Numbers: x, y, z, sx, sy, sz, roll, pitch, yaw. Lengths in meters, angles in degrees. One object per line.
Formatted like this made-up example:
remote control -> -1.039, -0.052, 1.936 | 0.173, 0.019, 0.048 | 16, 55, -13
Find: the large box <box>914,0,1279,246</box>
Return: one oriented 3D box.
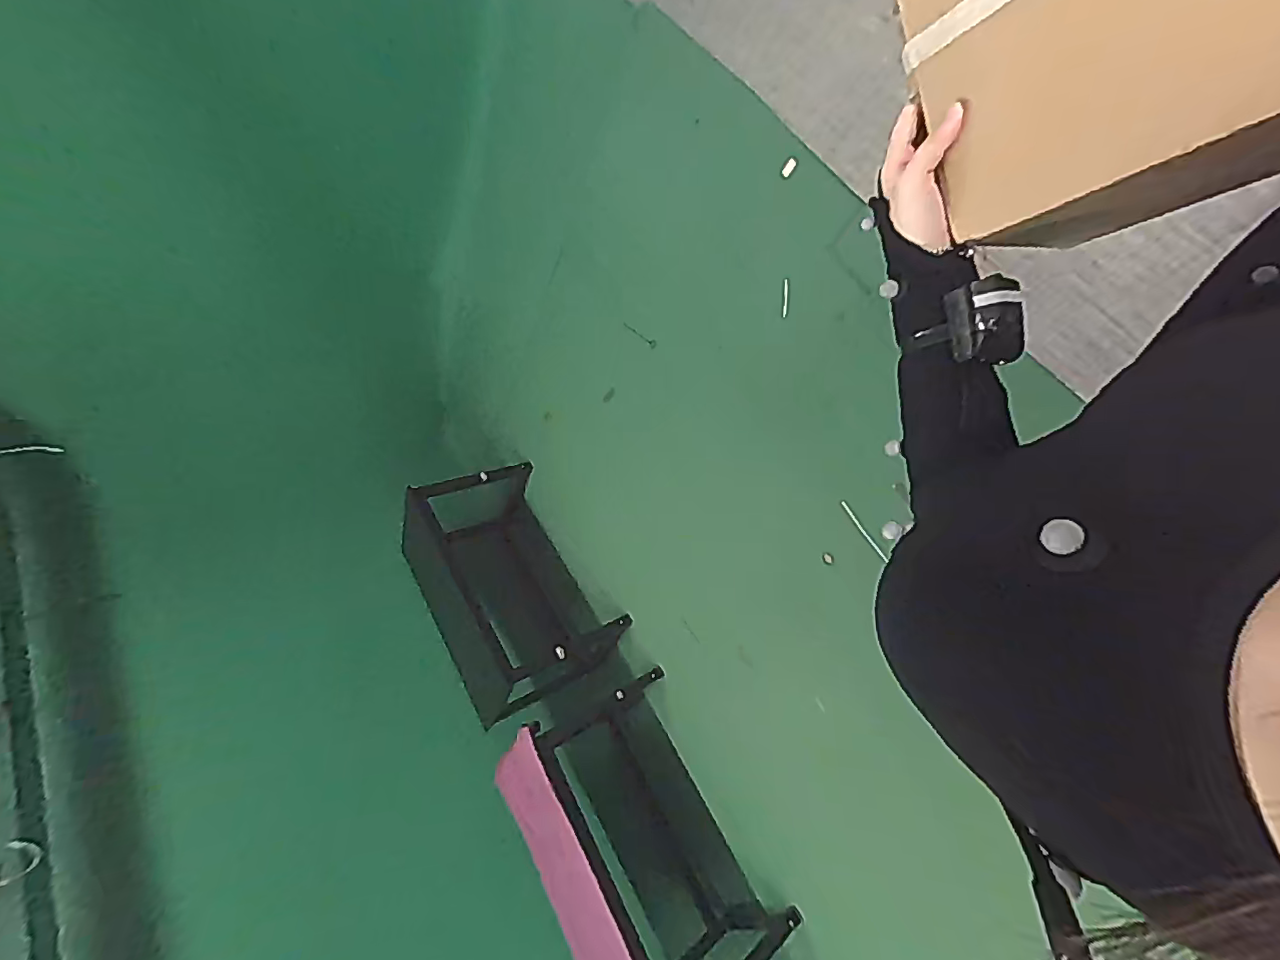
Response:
large box -> 0.459, -0.406, 0.372 | 0.408, 0.320, 0.320 | -11, 96, 51
